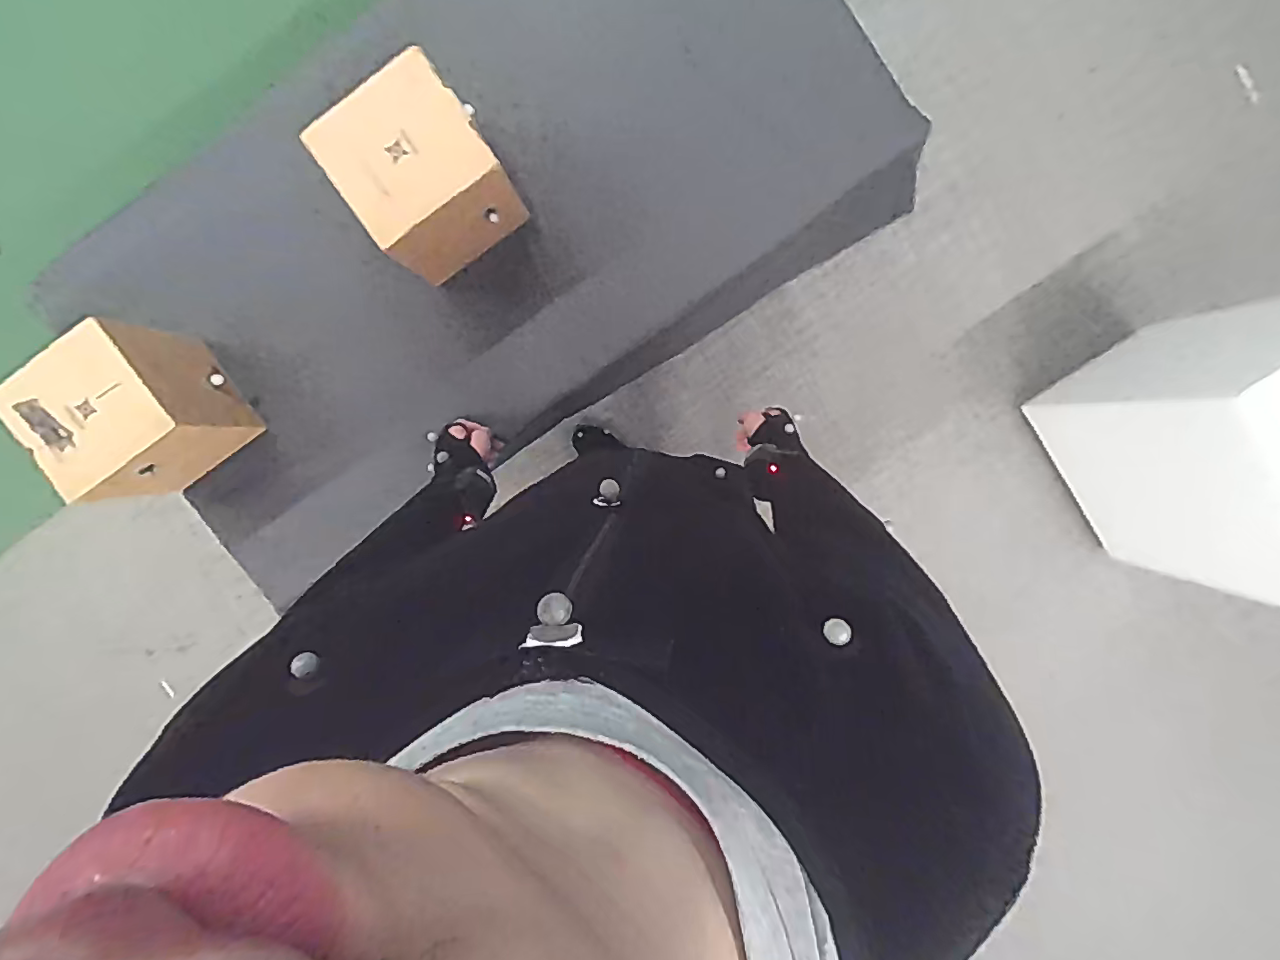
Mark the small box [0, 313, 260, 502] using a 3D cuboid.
[{"bbox_3d":[-0.676,-0.092,0.729,0.179,0.176,0.168,-35,96,2],"label":"small box"}]

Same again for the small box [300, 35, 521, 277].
[{"bbox_3d":[-0.273,-0.395,0.697,0.179,0.176,0.168,-36,94,5],"label":"small box"}]
